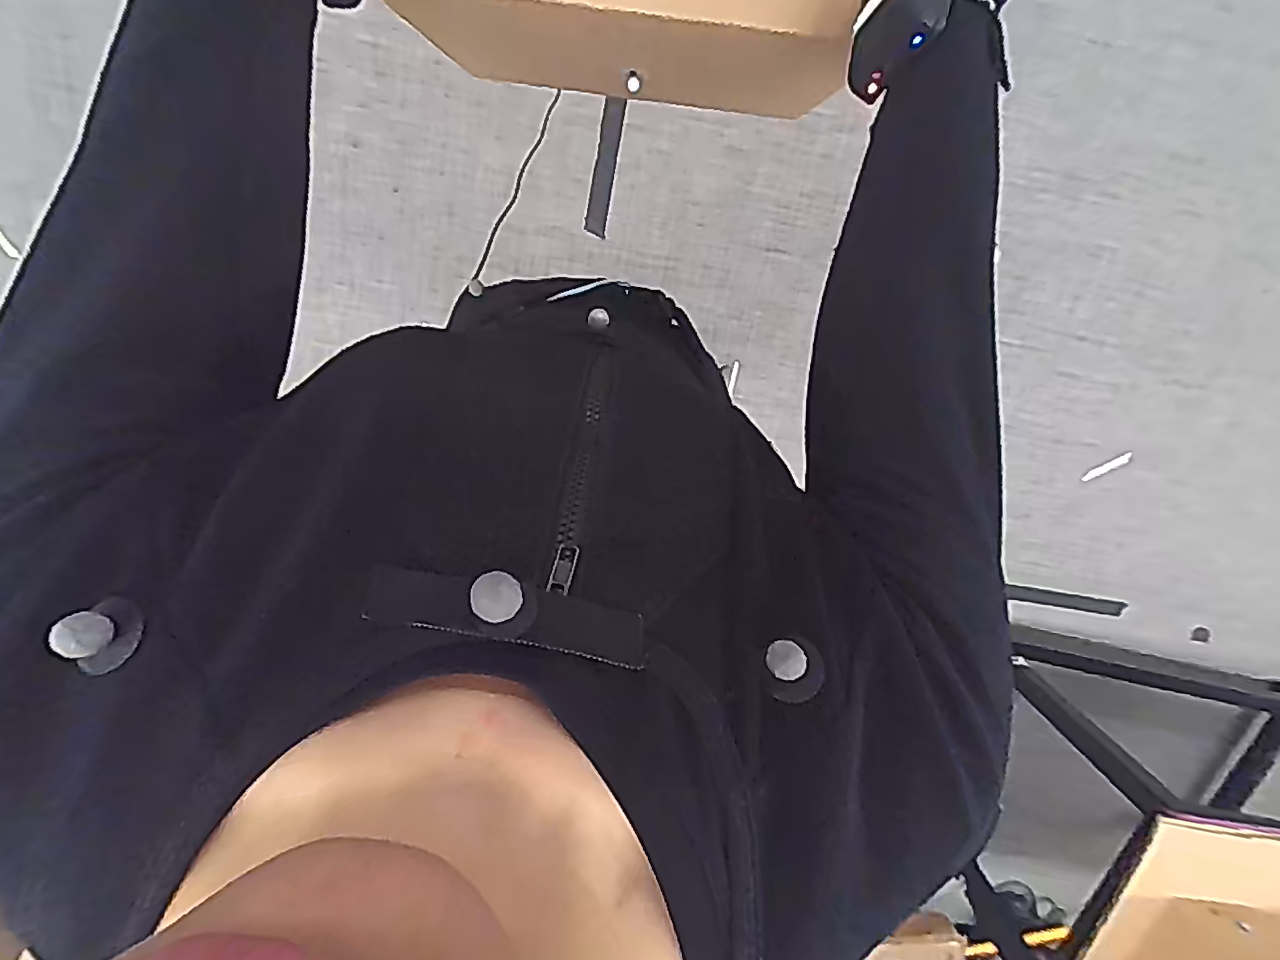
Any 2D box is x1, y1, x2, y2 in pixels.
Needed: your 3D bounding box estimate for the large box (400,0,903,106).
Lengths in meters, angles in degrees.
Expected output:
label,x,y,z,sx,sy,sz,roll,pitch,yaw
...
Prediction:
label,x,y,z,sx,sy,sz,roll,pitch,yaw
large box,0.014,-0.550,0.466,0.408,0.320,0.320,7,114,-1
